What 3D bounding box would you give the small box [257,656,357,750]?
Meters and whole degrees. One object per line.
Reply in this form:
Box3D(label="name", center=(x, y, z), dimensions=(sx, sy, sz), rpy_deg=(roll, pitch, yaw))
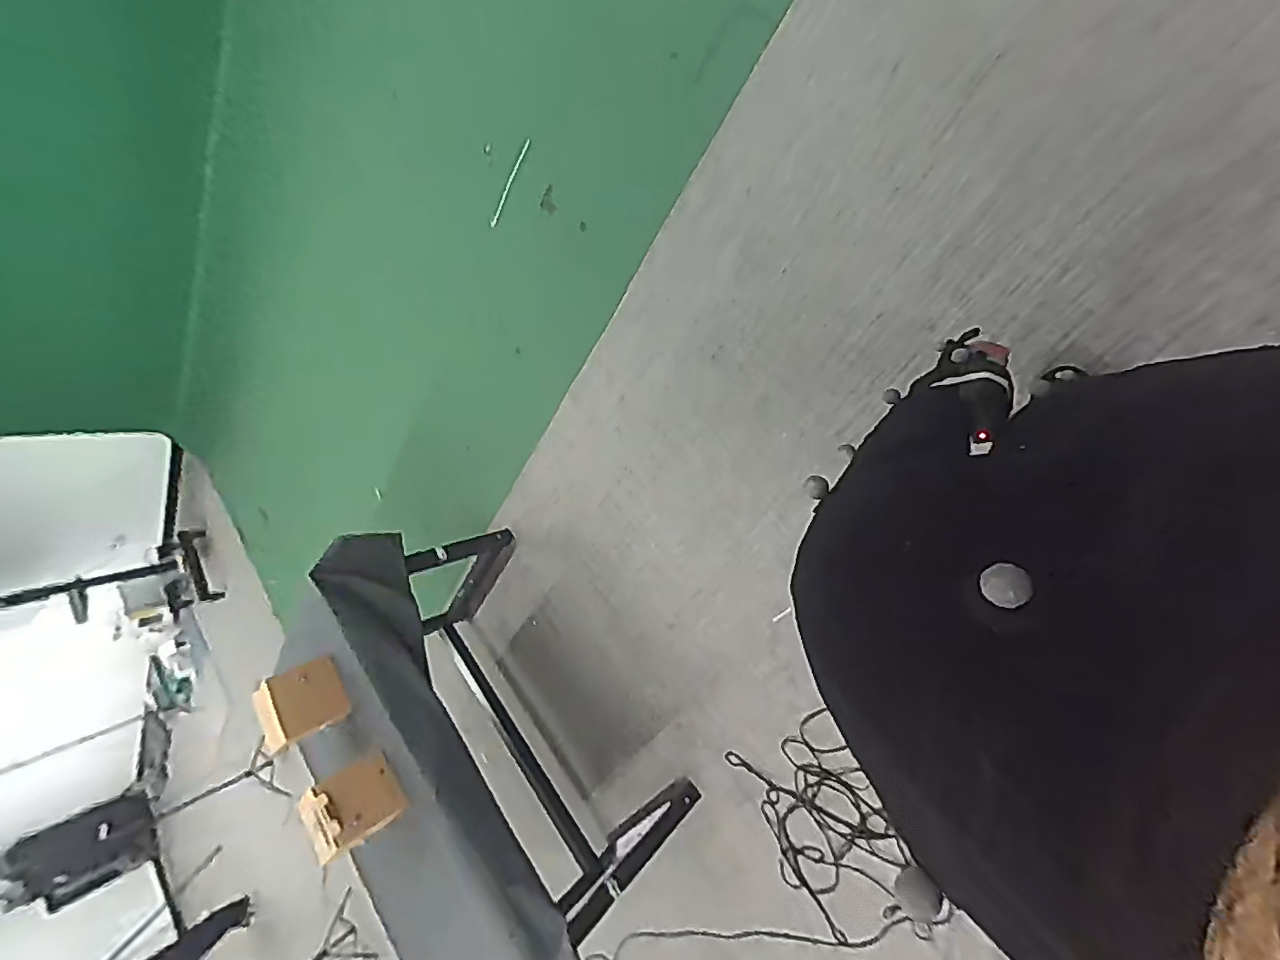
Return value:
Box3D(label="small box", center=(-0.924, 0.612, 1.503), dimensions=(0.168, 0.176, 0.179), rpy_deg=(-38, 76, 36))
